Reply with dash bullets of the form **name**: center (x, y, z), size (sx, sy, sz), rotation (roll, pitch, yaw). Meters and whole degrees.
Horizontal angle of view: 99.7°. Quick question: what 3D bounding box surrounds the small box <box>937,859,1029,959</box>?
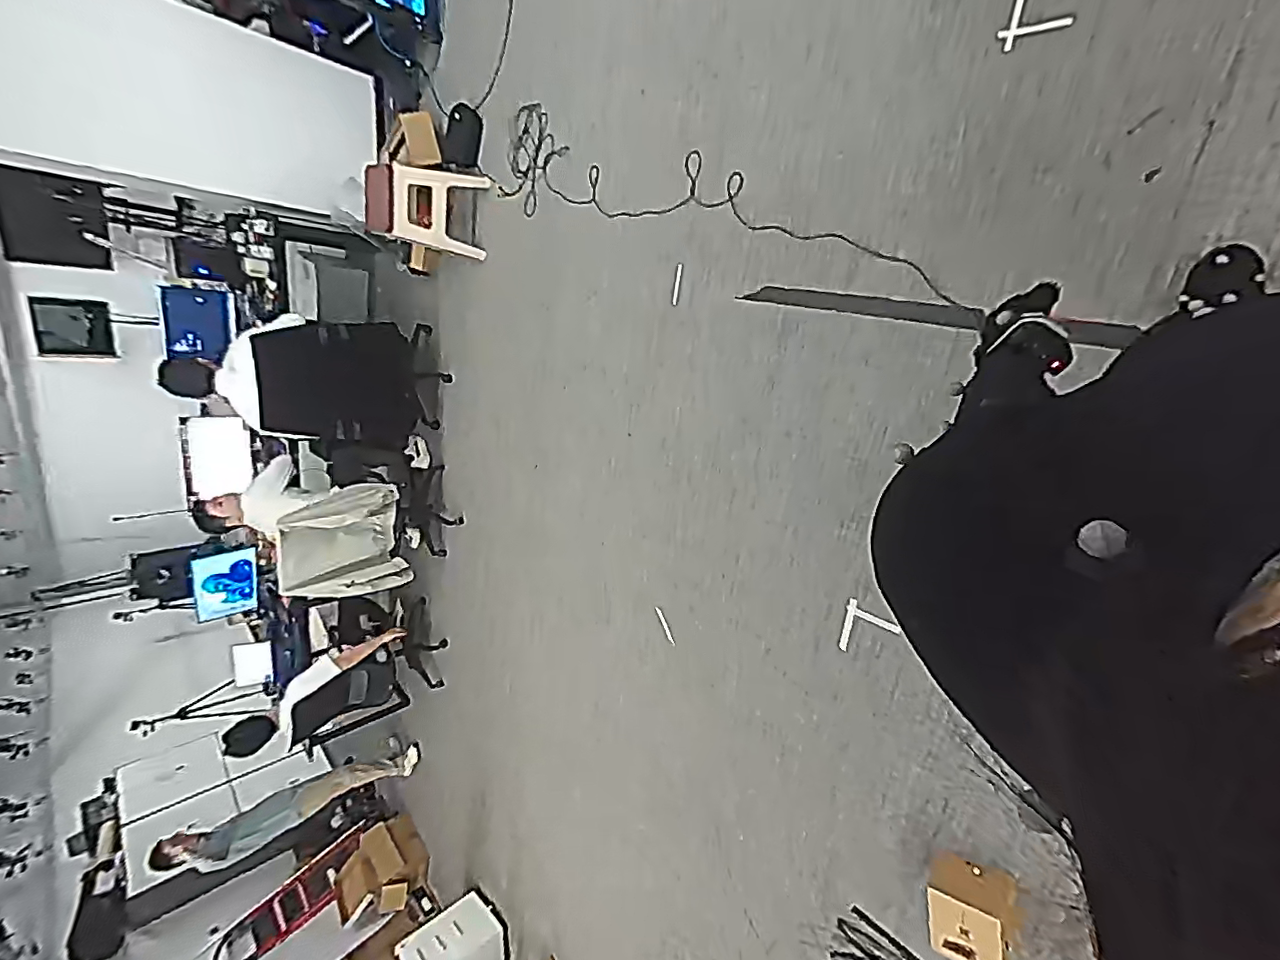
- **small box**: center (0.886, 1.139, 1.392), size (0.168, 0.176, 0.179), rotation (-2, 95, 46)
